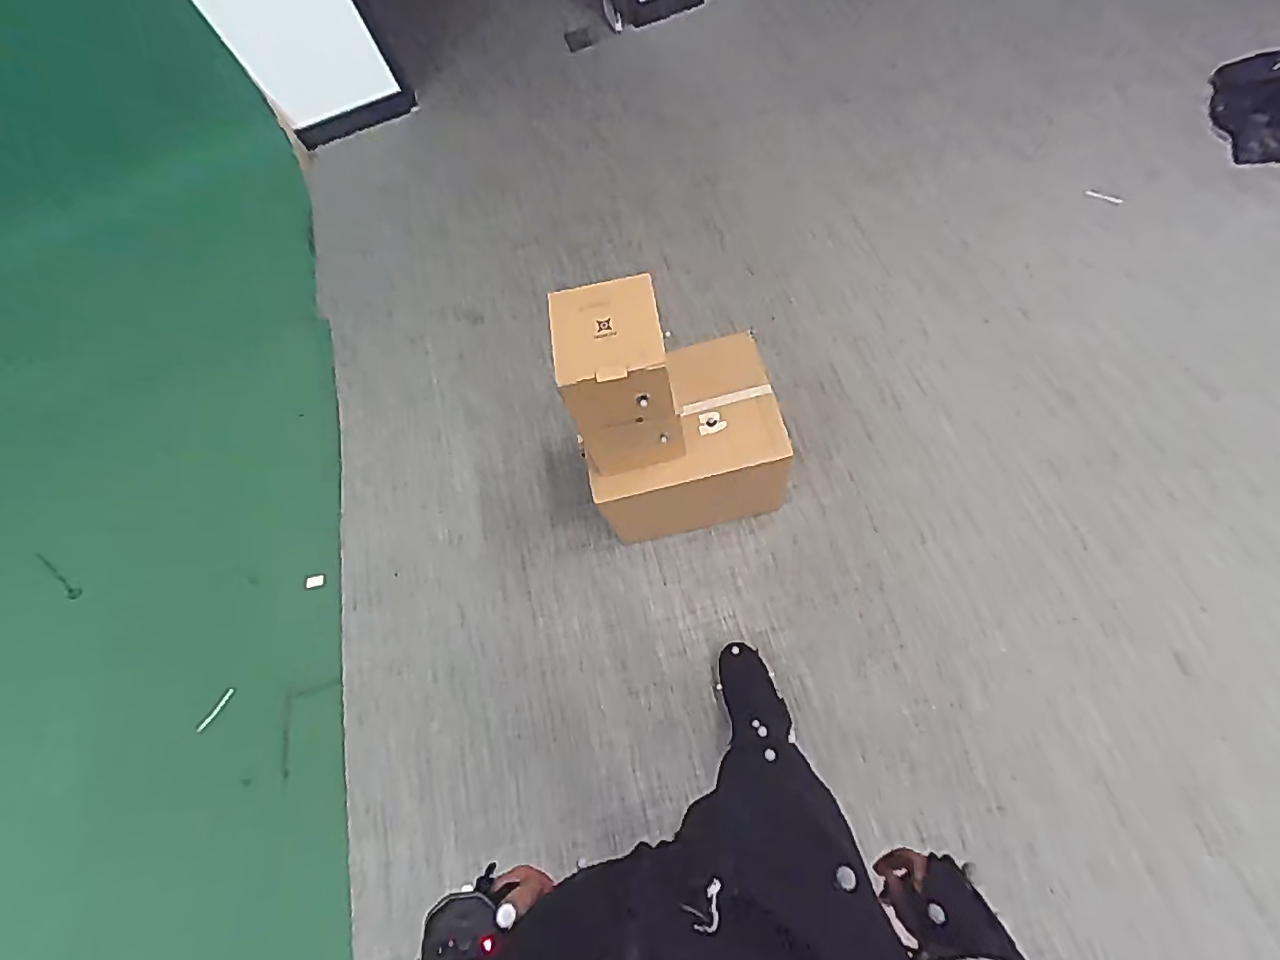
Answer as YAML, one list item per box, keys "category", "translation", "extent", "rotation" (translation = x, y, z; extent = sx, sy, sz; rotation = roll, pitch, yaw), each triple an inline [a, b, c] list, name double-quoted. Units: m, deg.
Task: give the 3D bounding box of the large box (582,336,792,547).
- category: "large box"
  translation: [0.095, -0.071, 1.252]
  extent: [0.408, 0.320, 0.320]
  rotation: [-14, 67, 3]

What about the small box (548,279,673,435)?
- category: "small box"
  translation: [-0.043, -0.188, 0.878]
  extent: [0.168, 0.176, 0.179]
  rotation: [-10, 65, 3]
